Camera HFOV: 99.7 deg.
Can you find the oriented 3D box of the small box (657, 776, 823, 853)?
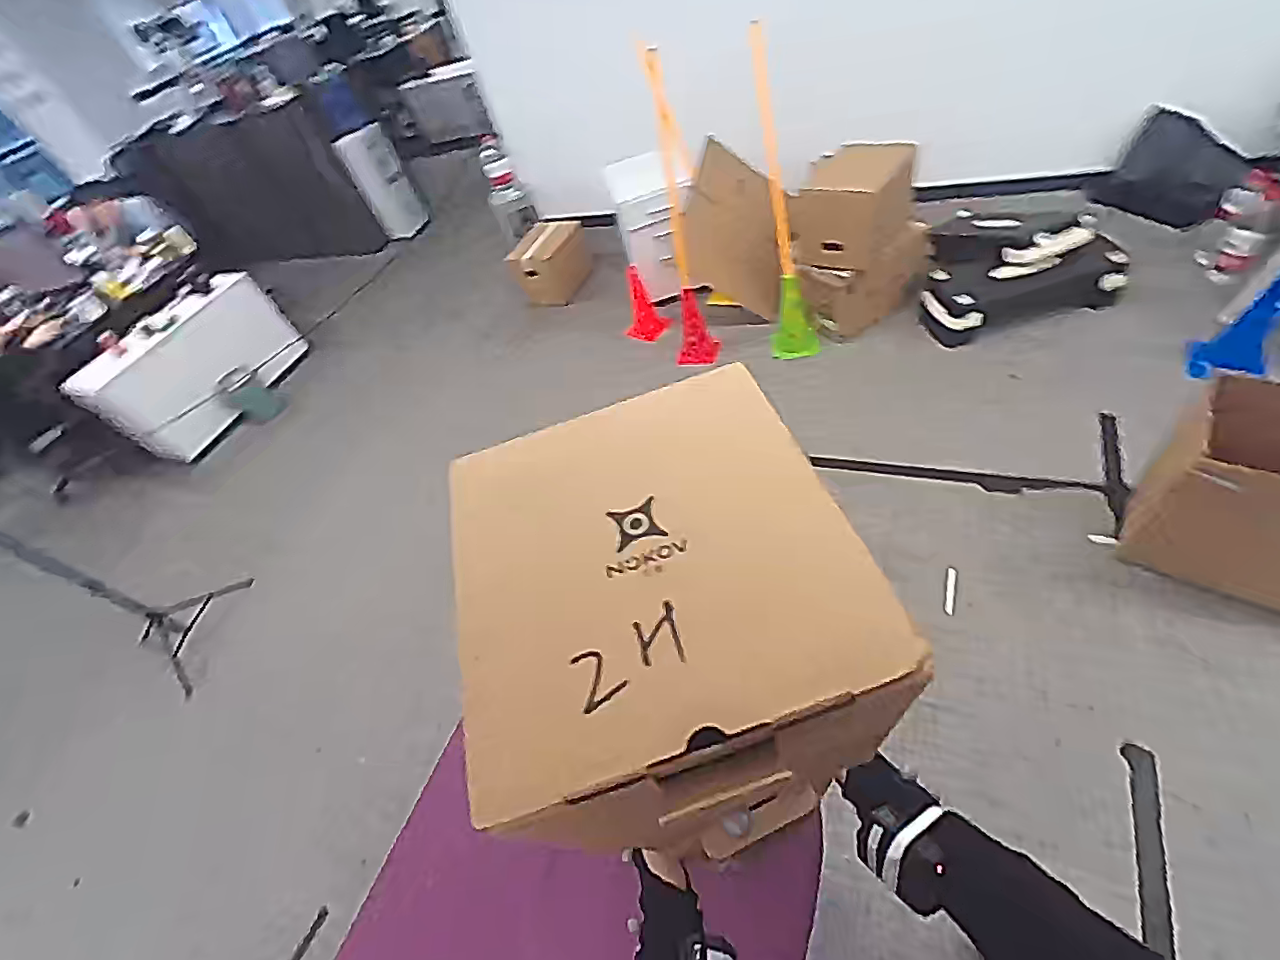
[{"bbox_3d":[0.078,0.255,0.560,0.168,0.176,0.179,-25,51,-5],"label":"small box"}]

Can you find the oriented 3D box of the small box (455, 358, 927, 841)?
[{"bbox_3d":[0.015,0.070,0.296,0.168,0.176,0.179,-19,52,0],"label":"small box"}]
